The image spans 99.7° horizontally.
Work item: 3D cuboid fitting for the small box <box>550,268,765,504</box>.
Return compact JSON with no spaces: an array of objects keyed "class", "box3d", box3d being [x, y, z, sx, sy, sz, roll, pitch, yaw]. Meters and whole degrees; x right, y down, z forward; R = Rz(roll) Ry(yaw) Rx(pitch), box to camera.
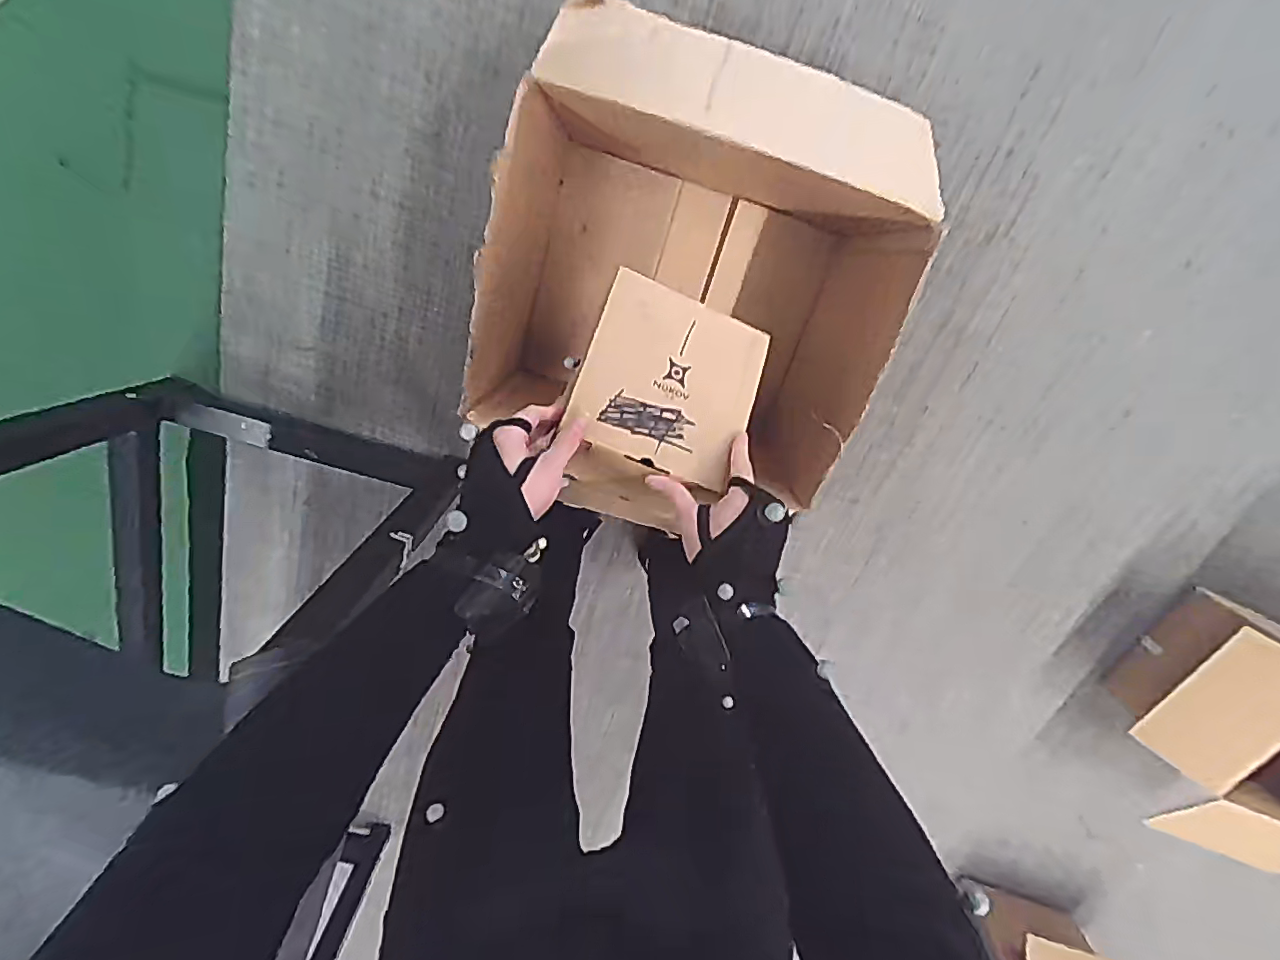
[{"class":"small box","box3d":[0.007,-0.085,0.592,0.168,0.176,0.179,21,74,-12]}]
